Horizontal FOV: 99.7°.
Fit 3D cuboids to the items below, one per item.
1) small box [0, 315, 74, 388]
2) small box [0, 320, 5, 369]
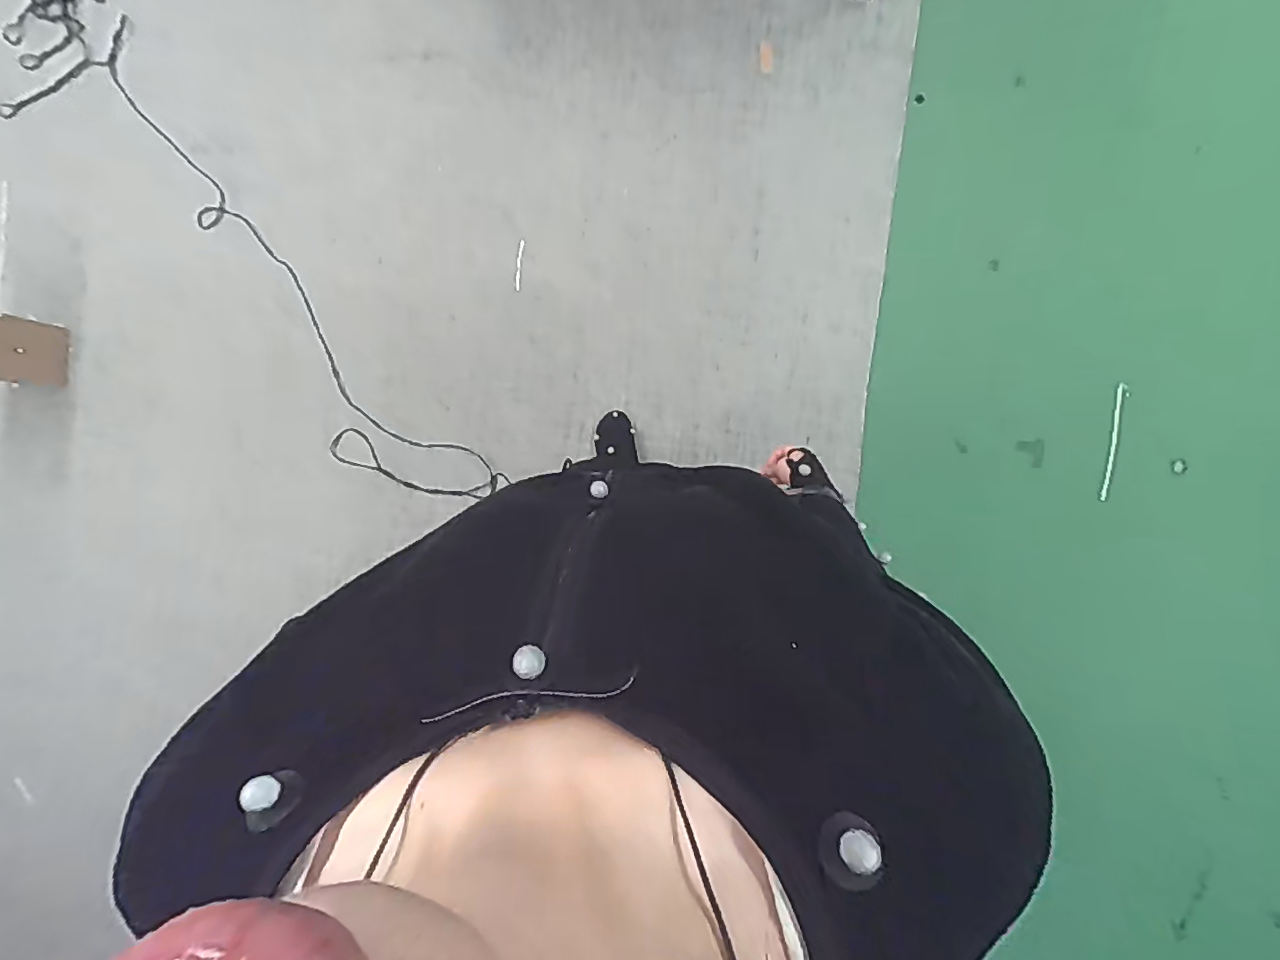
[{"bbox_3d":[-1.736,-0.355,1.497,0.168,0.176,0.179,6,91,2],"label":"small box"},{"bbox_3d":[-1.745,-0.342,1.334,0.168,0.176,0.179,6,91,1],"label":"small box"}]
